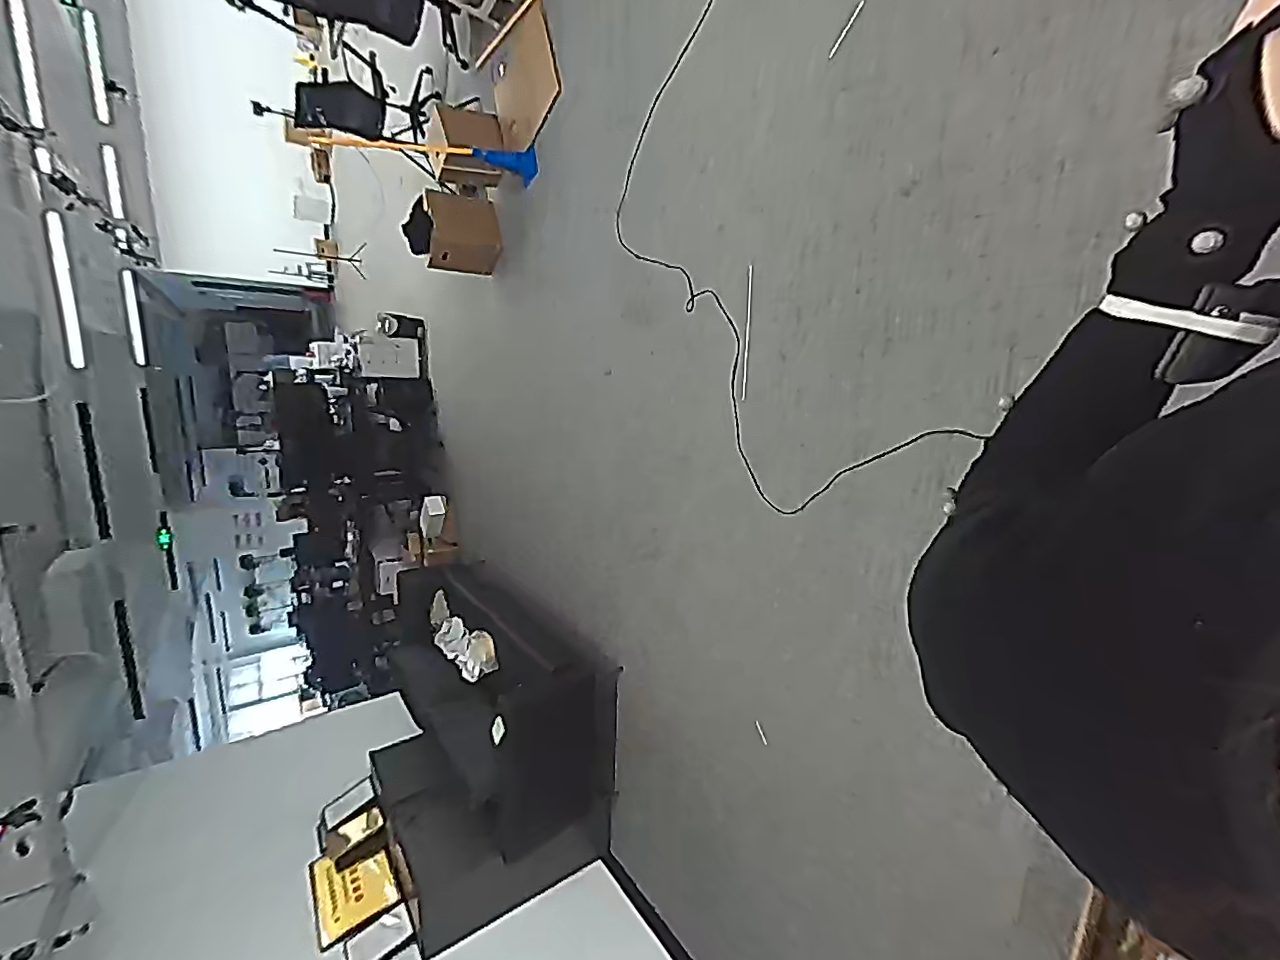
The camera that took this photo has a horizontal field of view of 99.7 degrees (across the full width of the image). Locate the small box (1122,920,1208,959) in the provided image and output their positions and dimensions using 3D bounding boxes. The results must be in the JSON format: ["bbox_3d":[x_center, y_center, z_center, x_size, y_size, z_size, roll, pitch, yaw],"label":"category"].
[{"bbox_3d":[1.088,1.065,1.101,0.168,0.176,0.179,17,109,52],"label":"small box"}]
